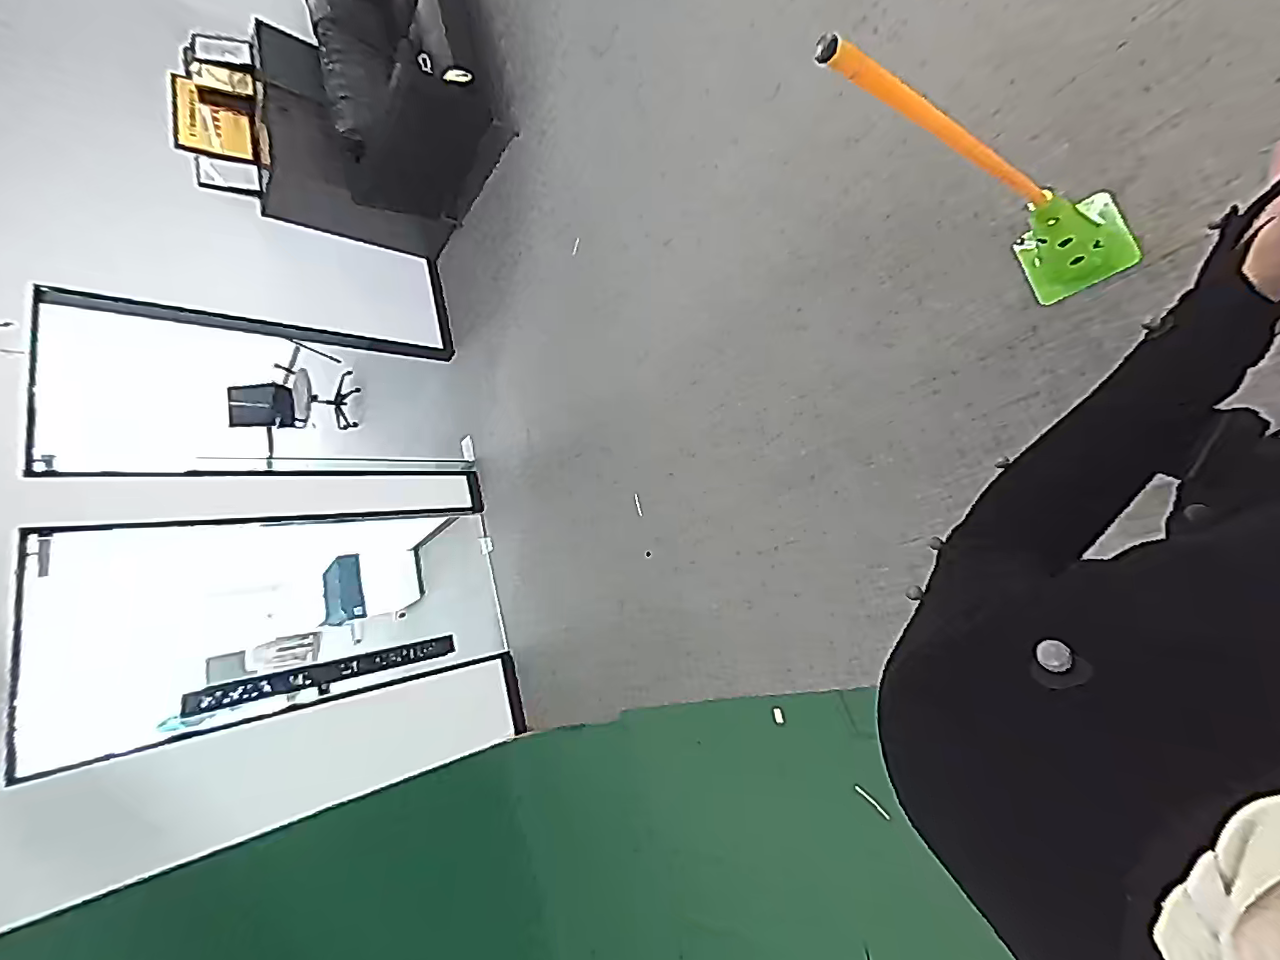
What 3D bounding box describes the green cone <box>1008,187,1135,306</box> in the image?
[{"bbox_3d":[0.908,-0.548,1.183,0.202,0.368,0.200,-28,71,42],"label":"green cone"}]
